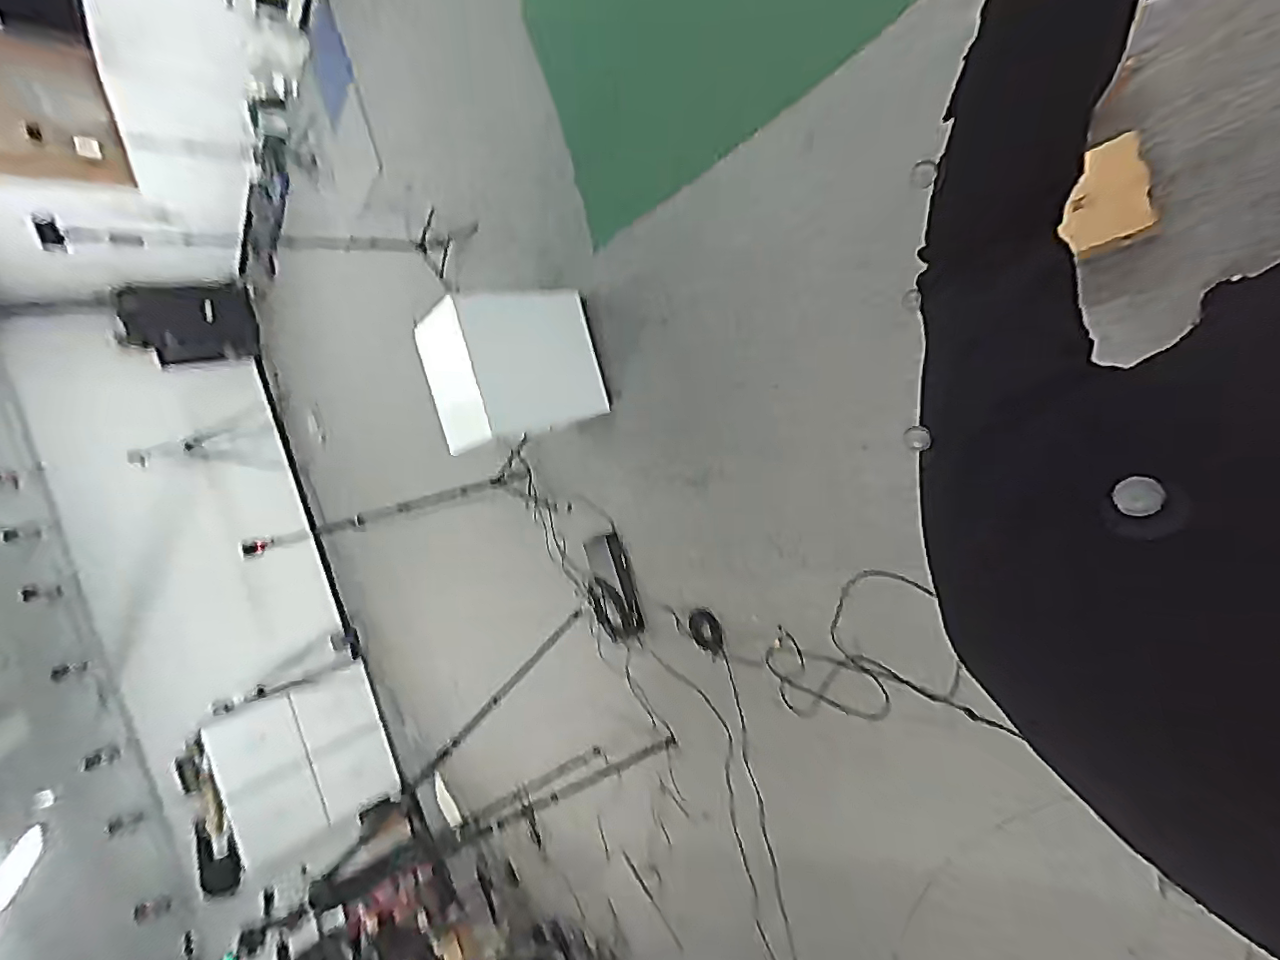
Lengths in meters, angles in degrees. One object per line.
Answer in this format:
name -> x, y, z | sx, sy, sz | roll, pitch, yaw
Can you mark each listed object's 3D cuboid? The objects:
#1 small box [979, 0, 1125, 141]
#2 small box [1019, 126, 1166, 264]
small box -> 0.785, -0.785, 1.024 | 0.179, 0.176, 0.168 | -18, 90, 50
small box -> 0.864, -0.527, 1.032 | 0.179, 0.176, 0.168 | -13, 94, 49
